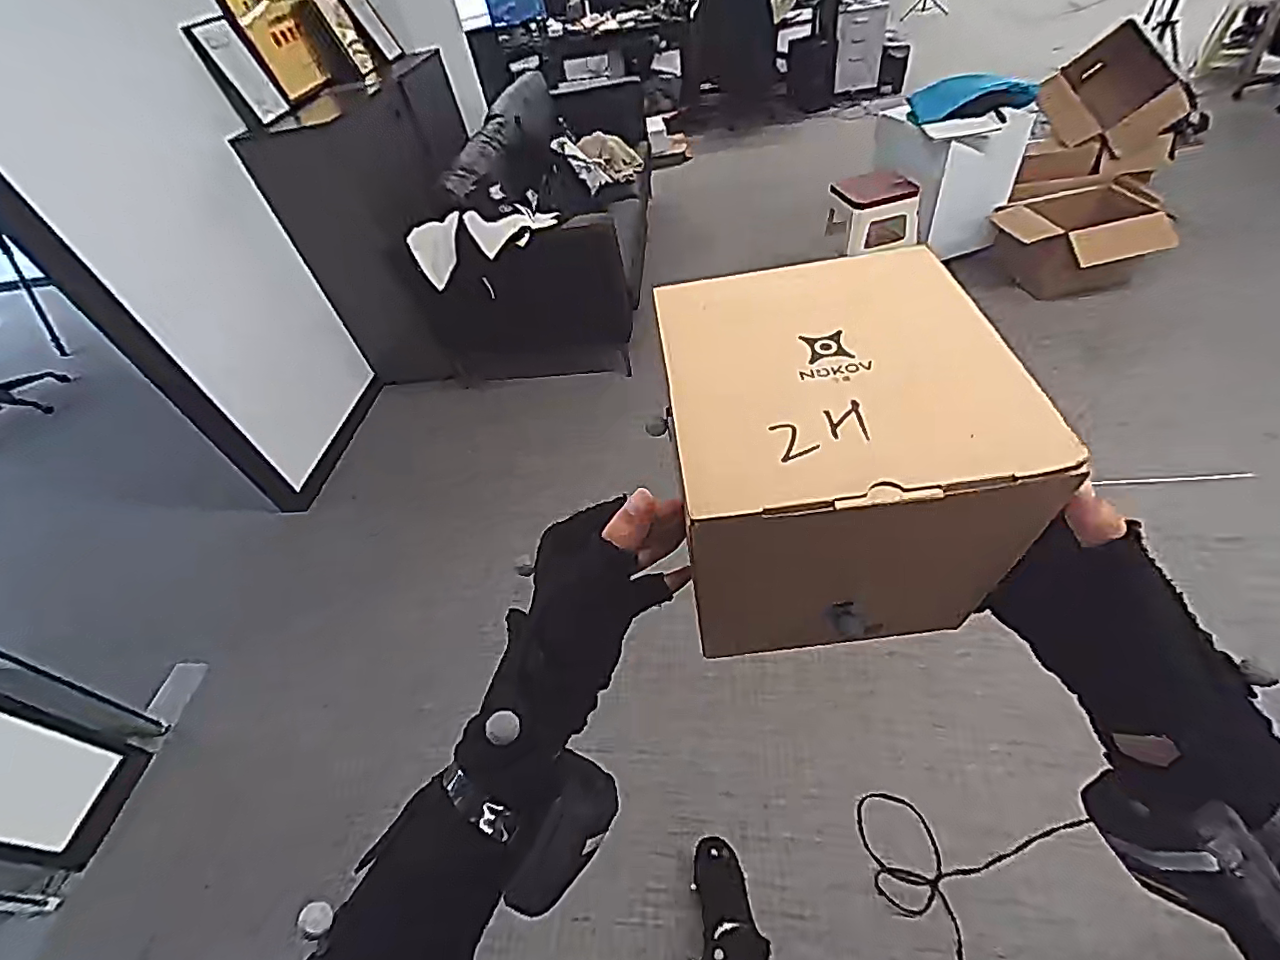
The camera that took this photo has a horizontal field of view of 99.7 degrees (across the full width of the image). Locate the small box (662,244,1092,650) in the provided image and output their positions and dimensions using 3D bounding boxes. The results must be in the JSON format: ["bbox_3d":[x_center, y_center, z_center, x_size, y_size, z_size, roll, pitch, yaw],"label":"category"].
[{"bbox_3d":[0.108,-0.014,0.337,0.168,0.176,0.179,-8,53,4],"label":"small box"}]
